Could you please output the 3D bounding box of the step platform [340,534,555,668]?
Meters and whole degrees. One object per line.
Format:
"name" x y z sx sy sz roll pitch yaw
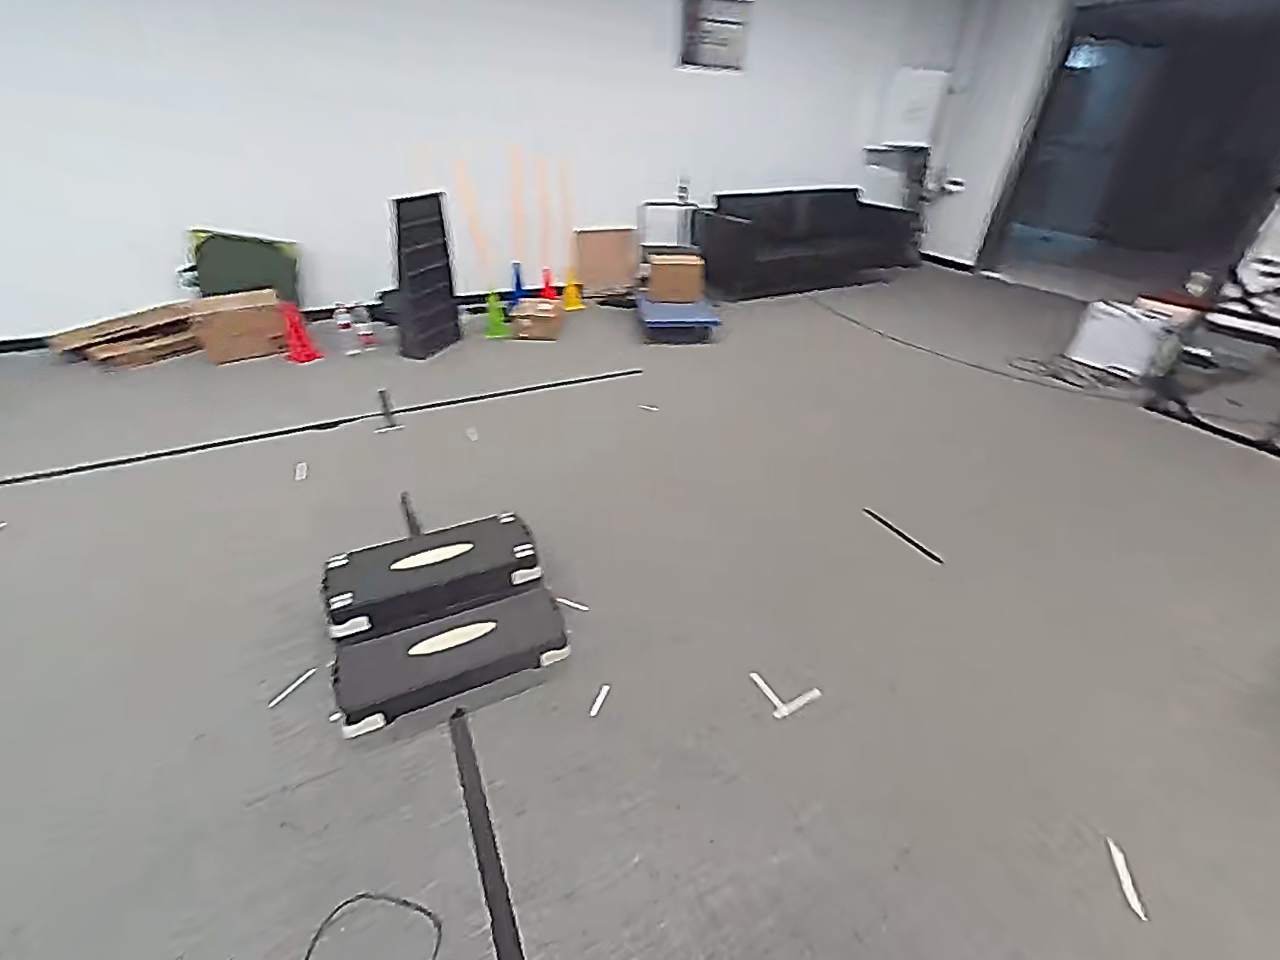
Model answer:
"step platform" -0.646 0.393 1.862 0.684 0.204 0.286 -10 34 -19
